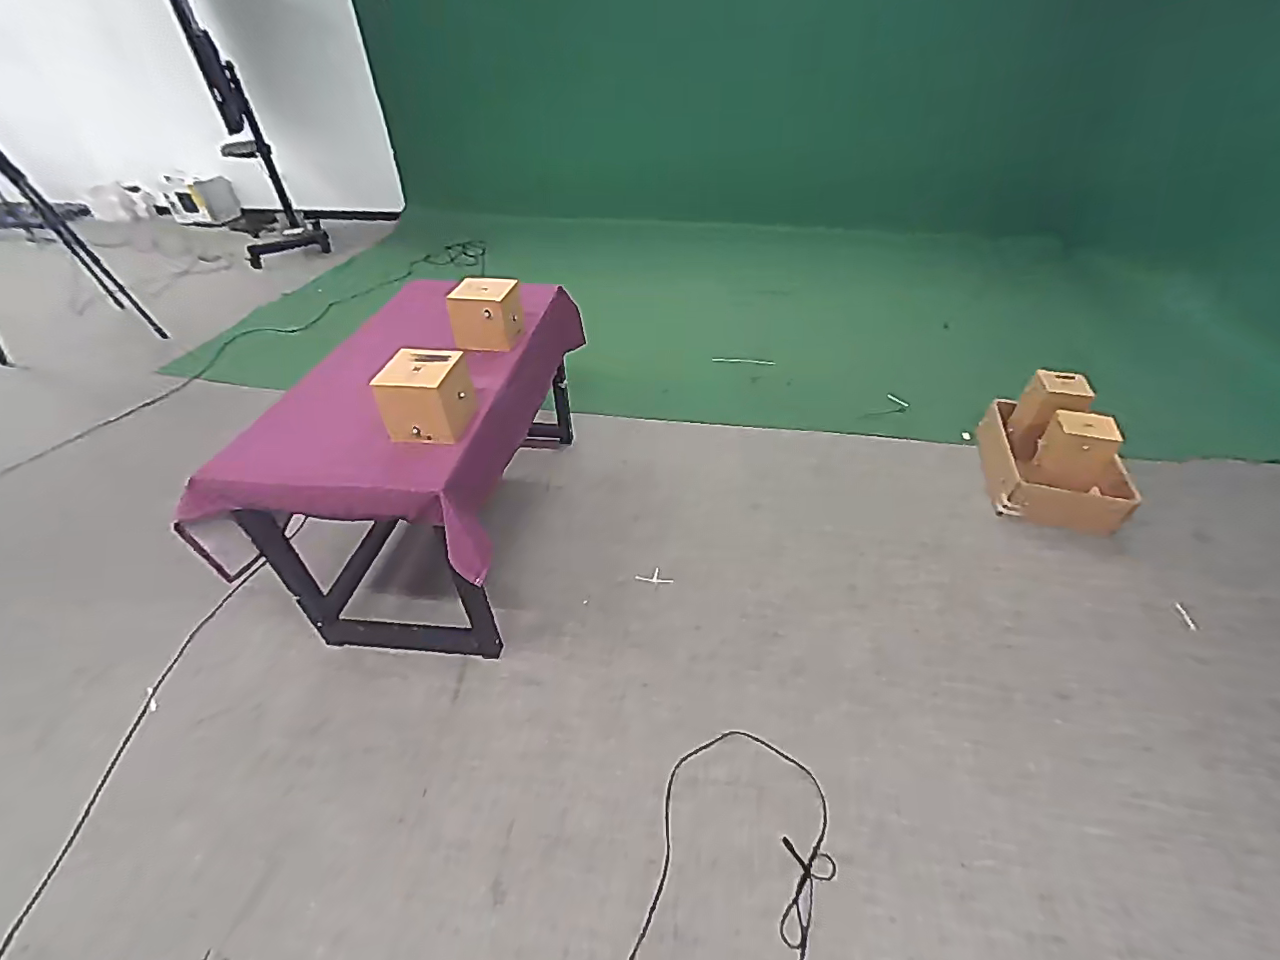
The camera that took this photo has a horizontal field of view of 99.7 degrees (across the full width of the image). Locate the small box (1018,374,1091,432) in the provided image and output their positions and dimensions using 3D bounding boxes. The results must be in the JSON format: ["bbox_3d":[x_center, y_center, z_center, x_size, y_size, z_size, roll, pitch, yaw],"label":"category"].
[{"bbox_3d":[1.695,-0.312,2.226,0.168,0.176,0.179,11,43,12],"label":"small box"}]

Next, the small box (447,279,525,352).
[{"bbox_3d":[-0.476,-0.517,1.707,0.179,0.176,0.168,5,41,8],"label":"small box"}]

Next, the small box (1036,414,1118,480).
[{"bbox_3d":[1.617,-0.119,2.009,0.179,0.176,0.168,13,42,19],"label":"small box"}]
